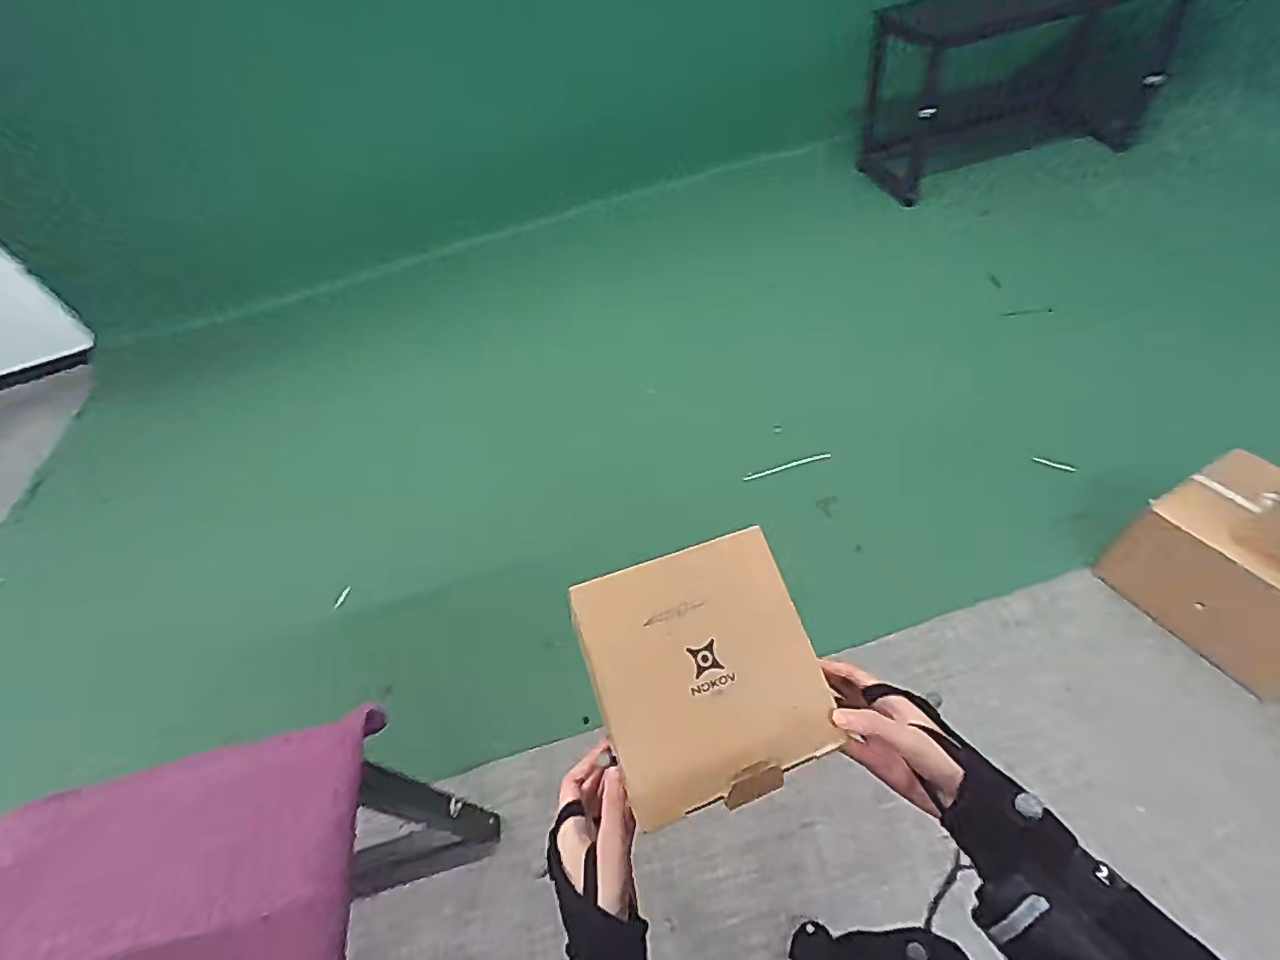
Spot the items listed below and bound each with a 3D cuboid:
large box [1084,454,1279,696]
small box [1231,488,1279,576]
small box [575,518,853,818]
[{"bbox_3d":[1.418,0.219,1.287,0.320,0.320,0.408,-27,49,-12],"label":"large box"},{"bbox_3d":[1.362,0.095,1.079,0.179,0.176,0.168,-24,50,-7],"label":"small box"},{"bbox_3d":[0.046,0.155,0.474,0.168,0.176,0.179,-15,71,-12],"label":"small box"}]
